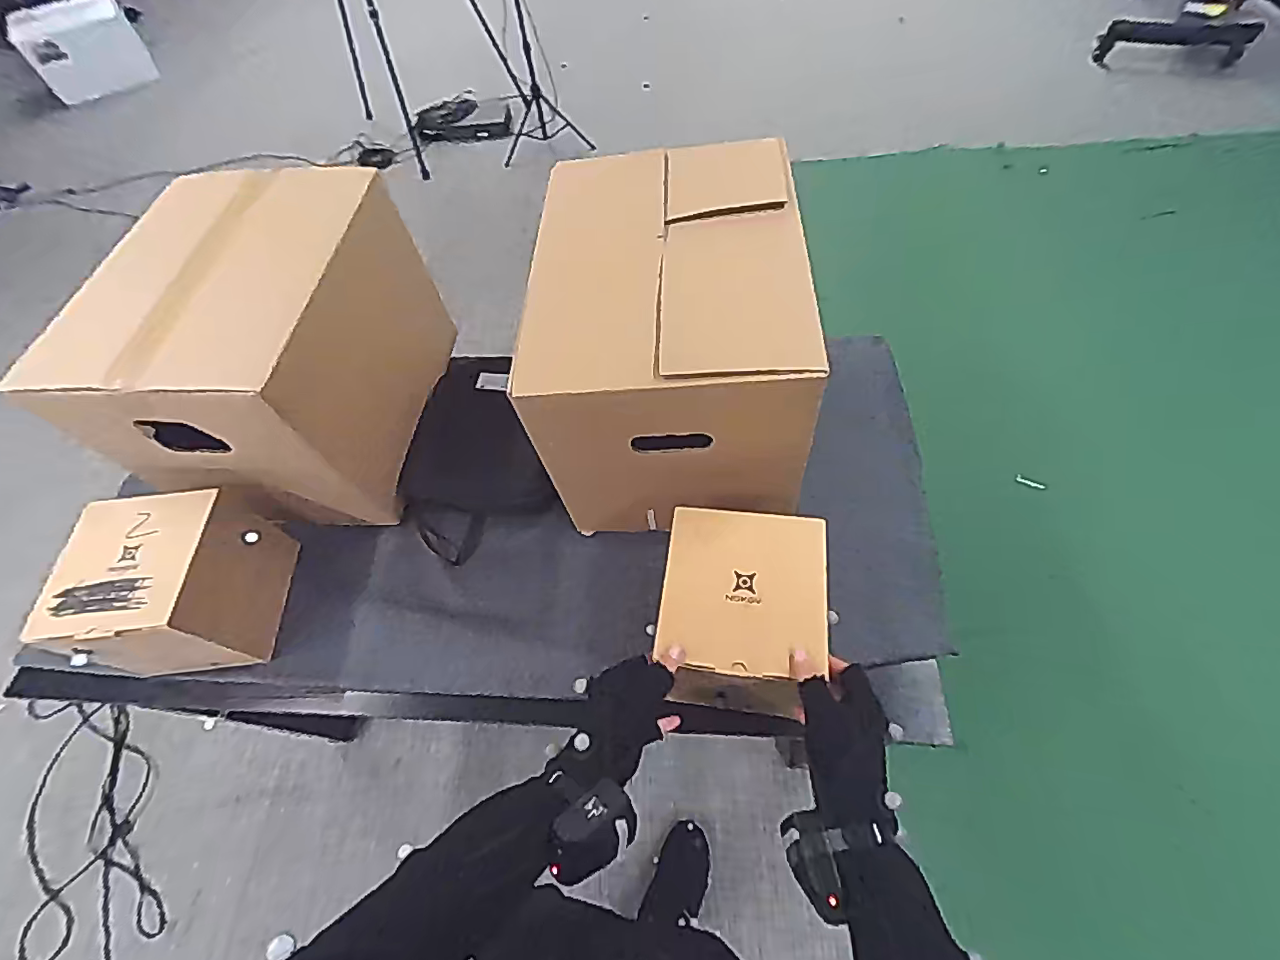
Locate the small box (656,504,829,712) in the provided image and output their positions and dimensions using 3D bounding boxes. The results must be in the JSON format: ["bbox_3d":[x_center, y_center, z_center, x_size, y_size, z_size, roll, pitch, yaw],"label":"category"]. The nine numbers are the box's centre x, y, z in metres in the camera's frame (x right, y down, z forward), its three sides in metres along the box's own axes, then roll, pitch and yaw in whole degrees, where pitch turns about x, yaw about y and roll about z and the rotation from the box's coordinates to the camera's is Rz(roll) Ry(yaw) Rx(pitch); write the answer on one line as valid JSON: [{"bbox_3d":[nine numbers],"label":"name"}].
[{"bbox_3d":[0.115,0.149,0.619,0.168,0.176,0.179,5,59,10],"label":"small box"}]
